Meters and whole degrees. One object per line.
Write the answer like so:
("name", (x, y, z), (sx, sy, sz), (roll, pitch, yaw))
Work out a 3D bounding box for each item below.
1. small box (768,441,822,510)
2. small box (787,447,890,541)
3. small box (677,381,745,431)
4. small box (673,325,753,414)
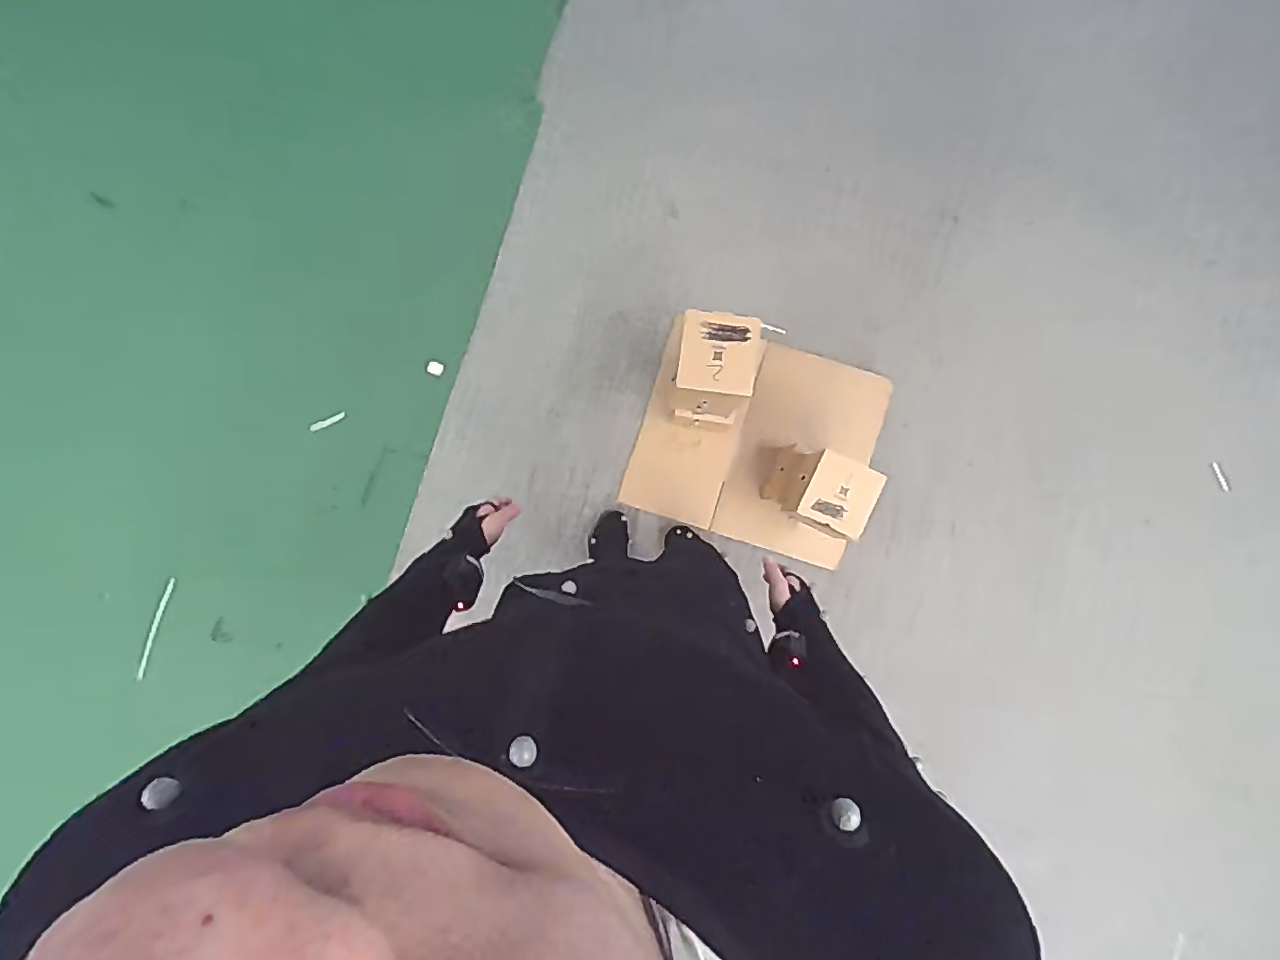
("small box", (0.475, 0.010, 1.534), (0.168, 0.176, 0.179), (23, 88, 3))
("small box", (0.491, 0.038, 1.367), (0.168, 0.176, 0.179), (26, 87, 2))
("small box", (0.201, -0.248, 1.554), (0.168, 0.176, 0.179), (10, 87, 2))
("small box", (0.182, -0.275, 1.390), (0.168, 0.176, 0.179), (11, 87, 1))
